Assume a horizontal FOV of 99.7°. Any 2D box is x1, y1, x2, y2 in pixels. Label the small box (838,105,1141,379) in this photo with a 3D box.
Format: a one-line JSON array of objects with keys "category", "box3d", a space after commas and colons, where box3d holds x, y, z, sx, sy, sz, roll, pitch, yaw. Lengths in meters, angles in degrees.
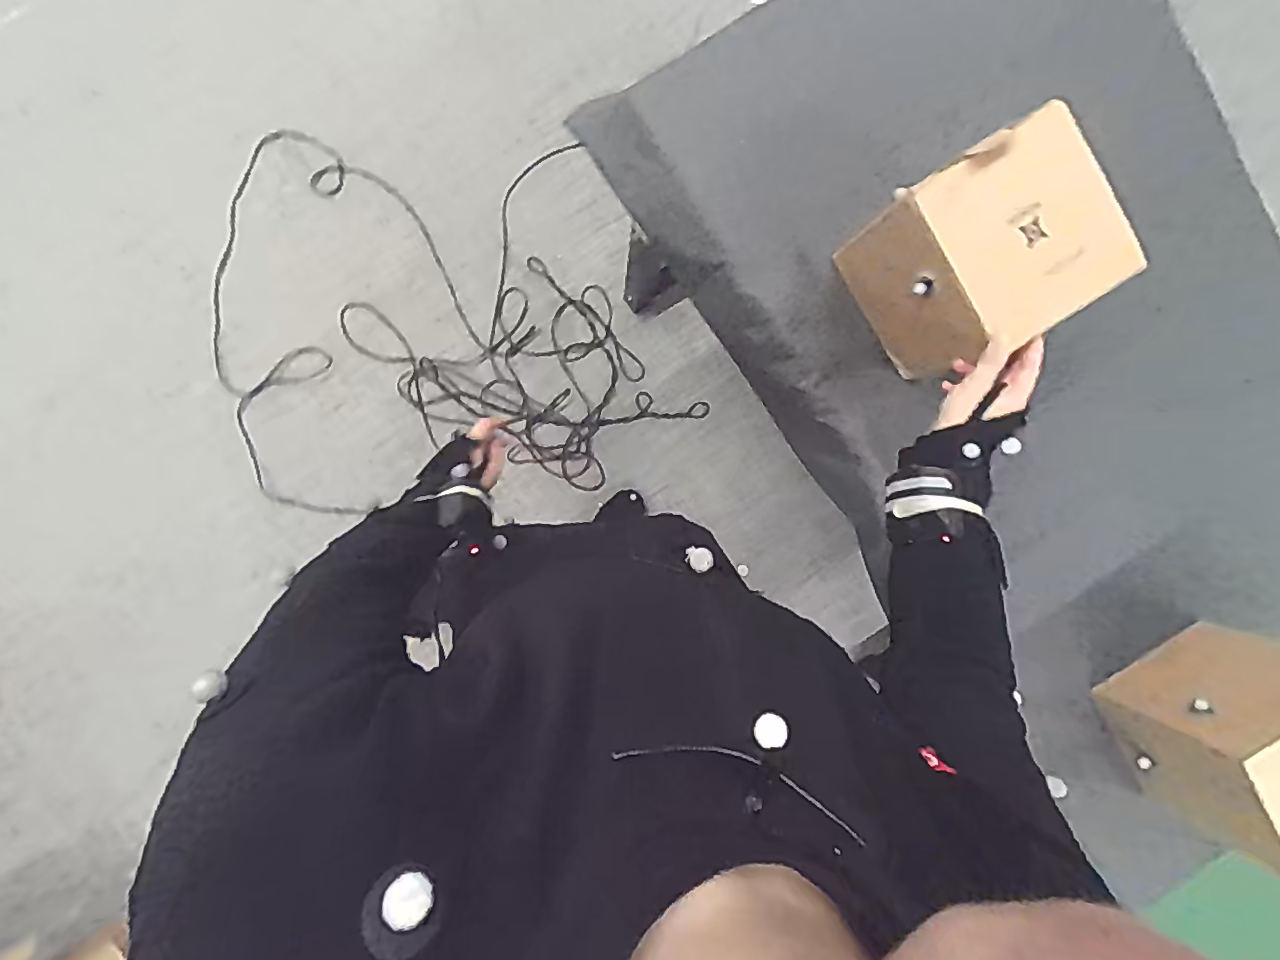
[{"category": "small box", "box3d": [0.342, -0.227, 0.566, 0.168, 0.176, 0.179, -32, 95, -2]}]
